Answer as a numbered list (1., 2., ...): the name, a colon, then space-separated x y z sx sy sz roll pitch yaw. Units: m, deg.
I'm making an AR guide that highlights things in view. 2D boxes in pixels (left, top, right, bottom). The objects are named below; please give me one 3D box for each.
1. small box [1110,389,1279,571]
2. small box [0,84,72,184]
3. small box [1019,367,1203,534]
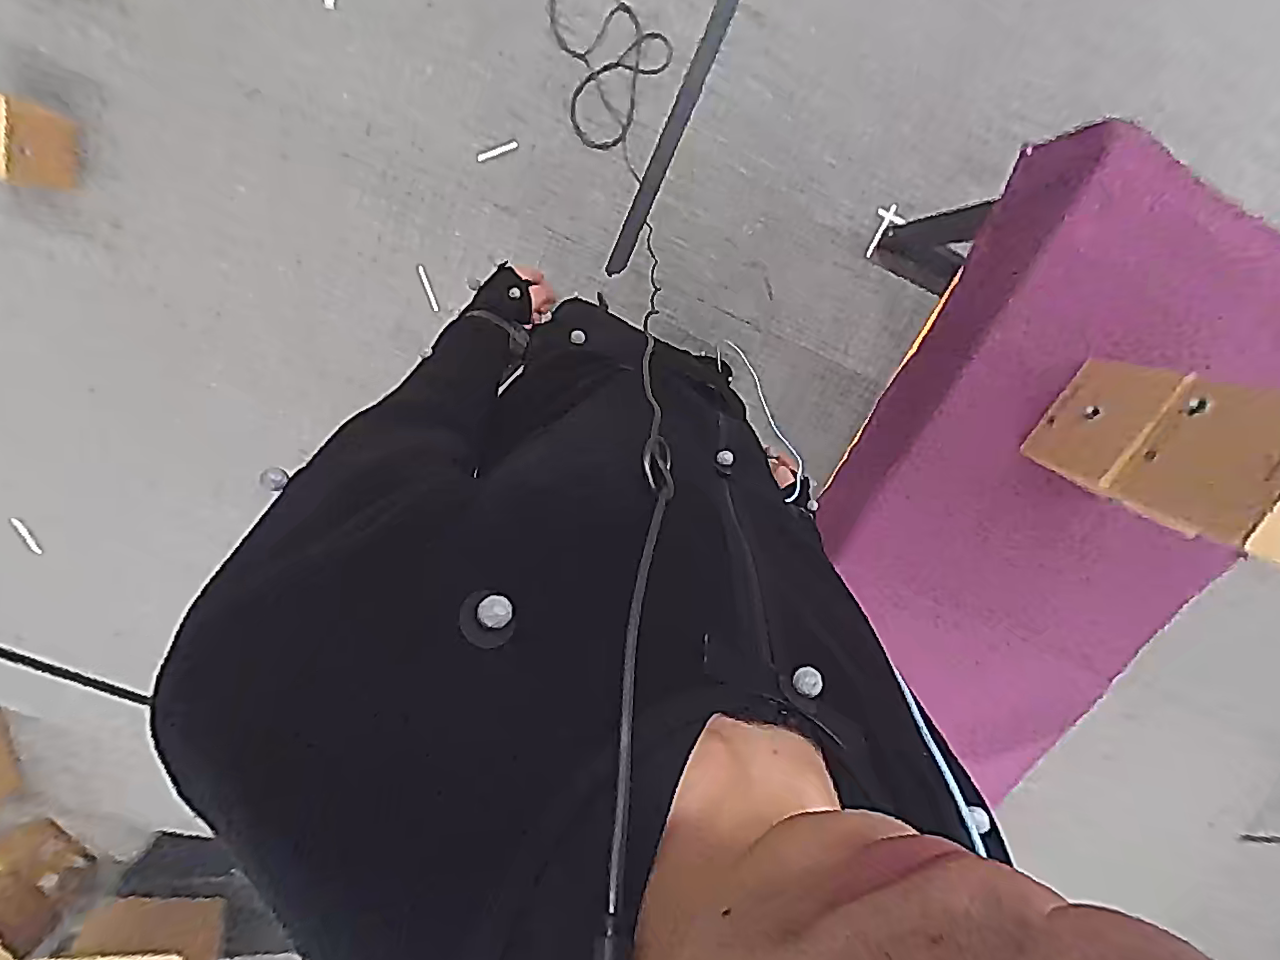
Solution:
1. small box: 0.731 0.003 0.639 0.179 0.176 0.168 22 108 -8
2. small box: -1.525 -0.841 1.292 0.168 0.176 0.179 22 109 -8
3. small box: 0.719 -0.053 0.794 0.179 0.176 0.168 26 108 -9
